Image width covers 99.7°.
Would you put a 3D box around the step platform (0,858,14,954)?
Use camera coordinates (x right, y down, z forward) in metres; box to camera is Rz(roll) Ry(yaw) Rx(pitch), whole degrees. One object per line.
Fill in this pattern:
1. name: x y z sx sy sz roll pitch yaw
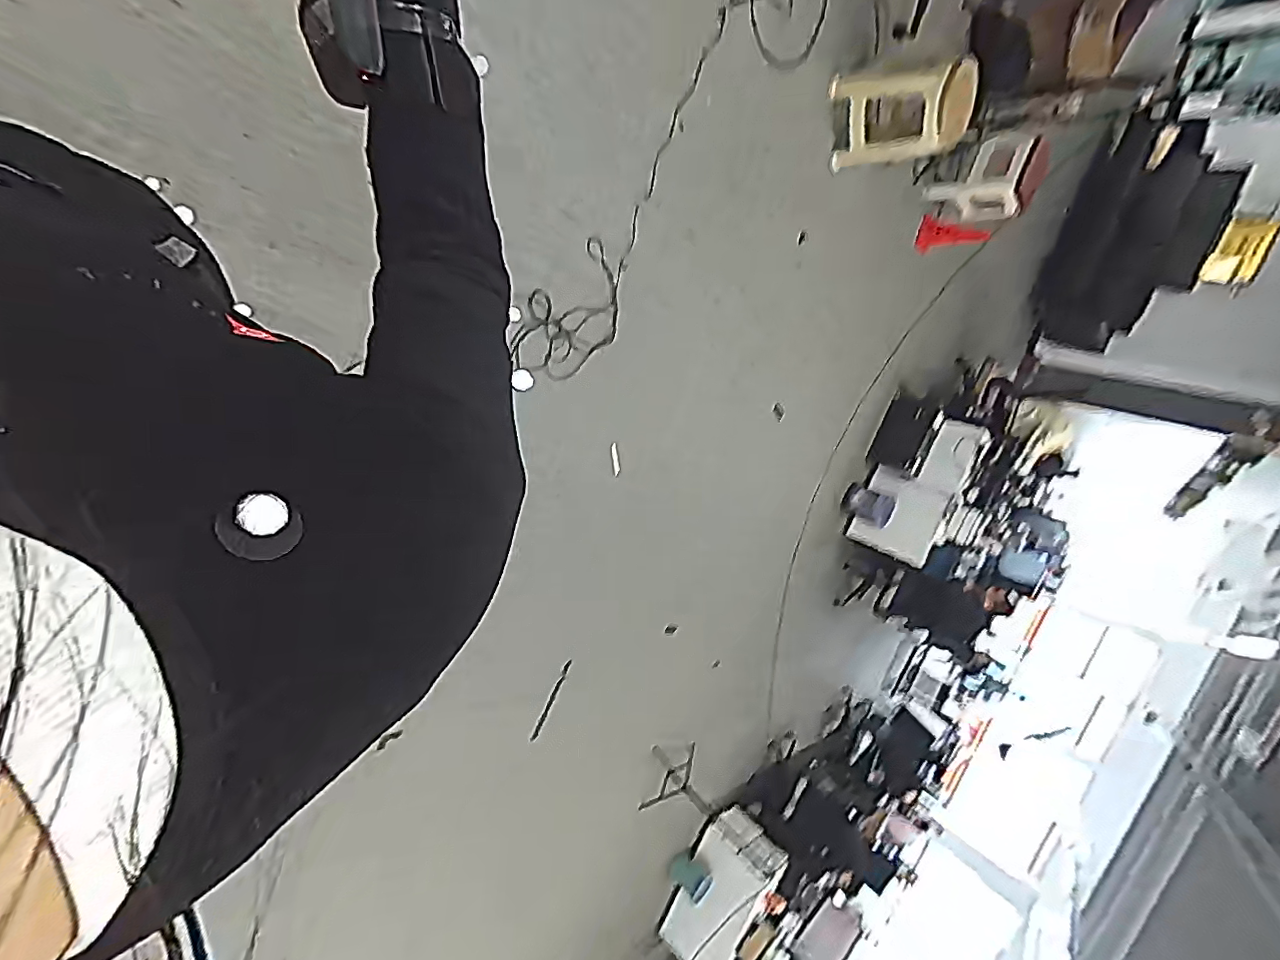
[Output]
1. step platform: -1.620 0.943 0.937 0.684 0.204 0.286 17 97 -48
